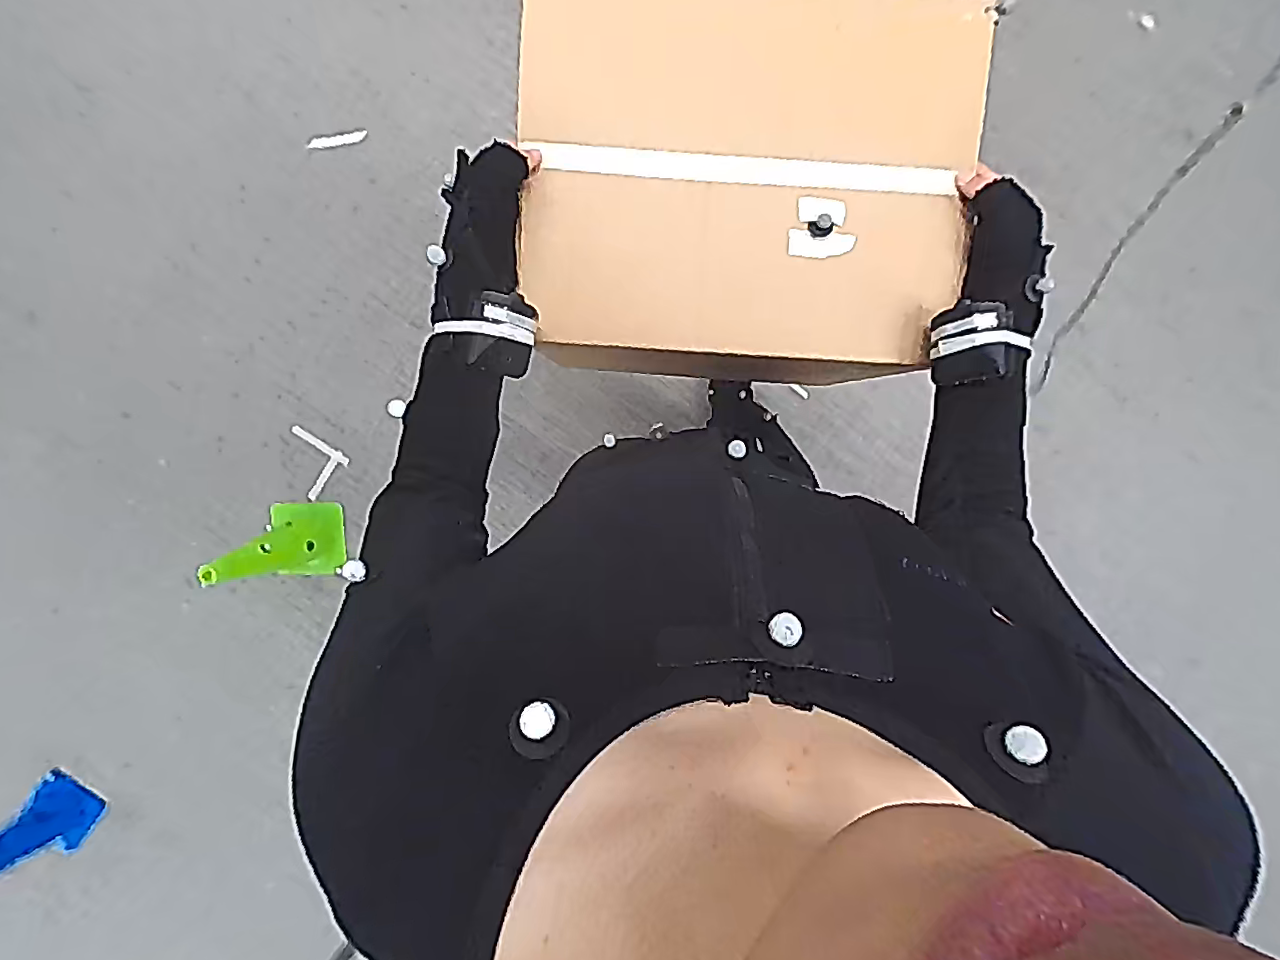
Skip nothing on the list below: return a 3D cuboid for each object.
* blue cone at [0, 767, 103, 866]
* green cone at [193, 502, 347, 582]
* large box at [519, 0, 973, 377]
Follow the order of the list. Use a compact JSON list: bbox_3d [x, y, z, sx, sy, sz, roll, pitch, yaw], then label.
[{"bbox_3d":[-1.706,0.982,1.437,0.192,0.380,0.193,39,95,-3],"label":"blue cone"},{"bbox_3d":[-0.919,0.176,1.325,0.202,0.368,0.200,-1,96,2],"label":"green cone"},{"bbox_3d":[0.085,-0.292,0.630,0.408,0.320,0.320,2,97,-2],"label":"large box"}]
